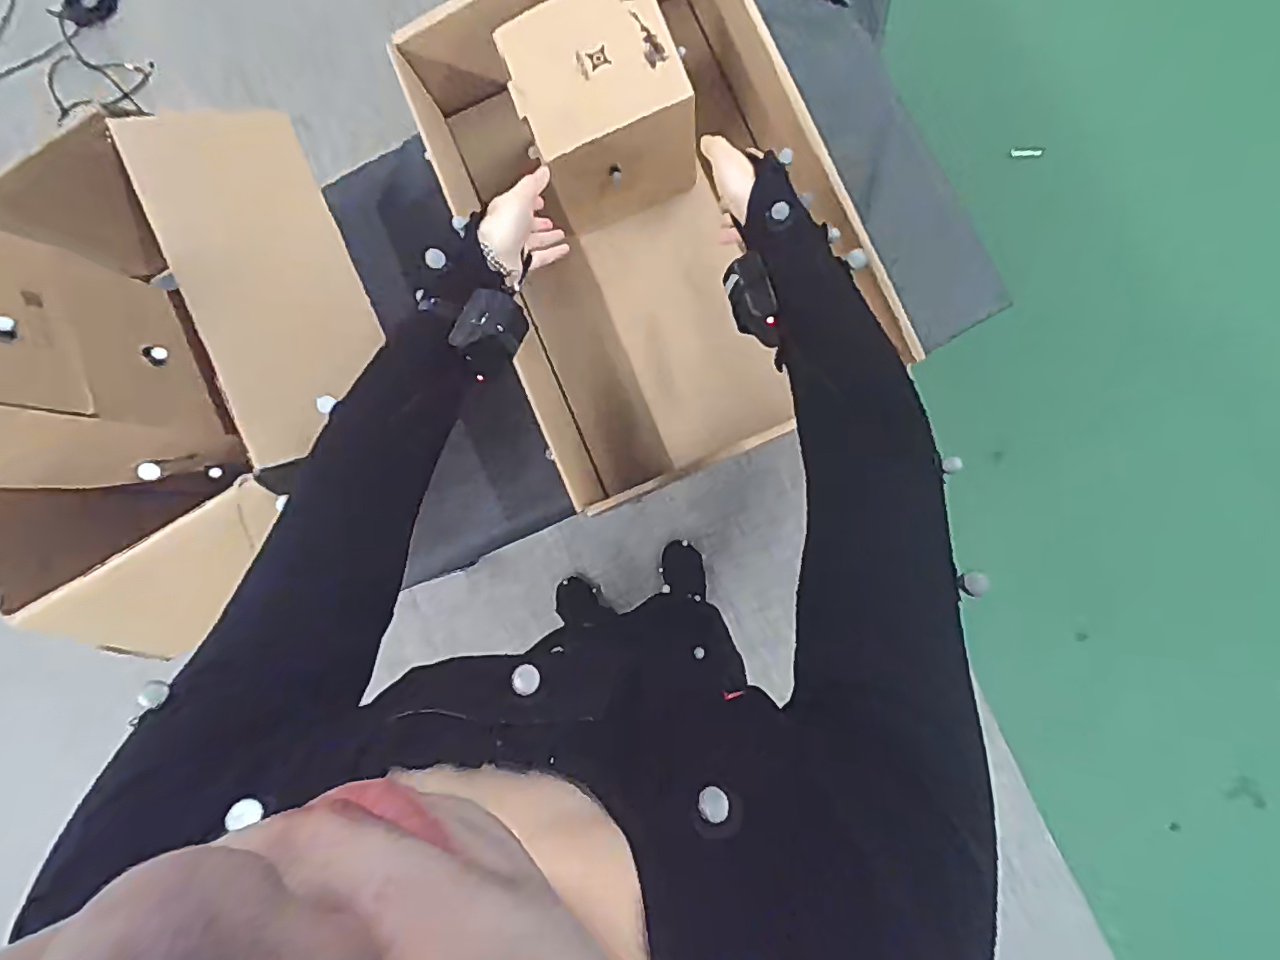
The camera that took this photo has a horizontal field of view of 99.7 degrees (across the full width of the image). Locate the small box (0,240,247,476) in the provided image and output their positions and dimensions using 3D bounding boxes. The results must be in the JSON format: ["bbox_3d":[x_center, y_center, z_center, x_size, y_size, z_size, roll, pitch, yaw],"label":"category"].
[{"bbox_3d":[-0.573,-0.110,0.572,0.168,0.176,0.179,-22,89,5],"label":"small box"}]
